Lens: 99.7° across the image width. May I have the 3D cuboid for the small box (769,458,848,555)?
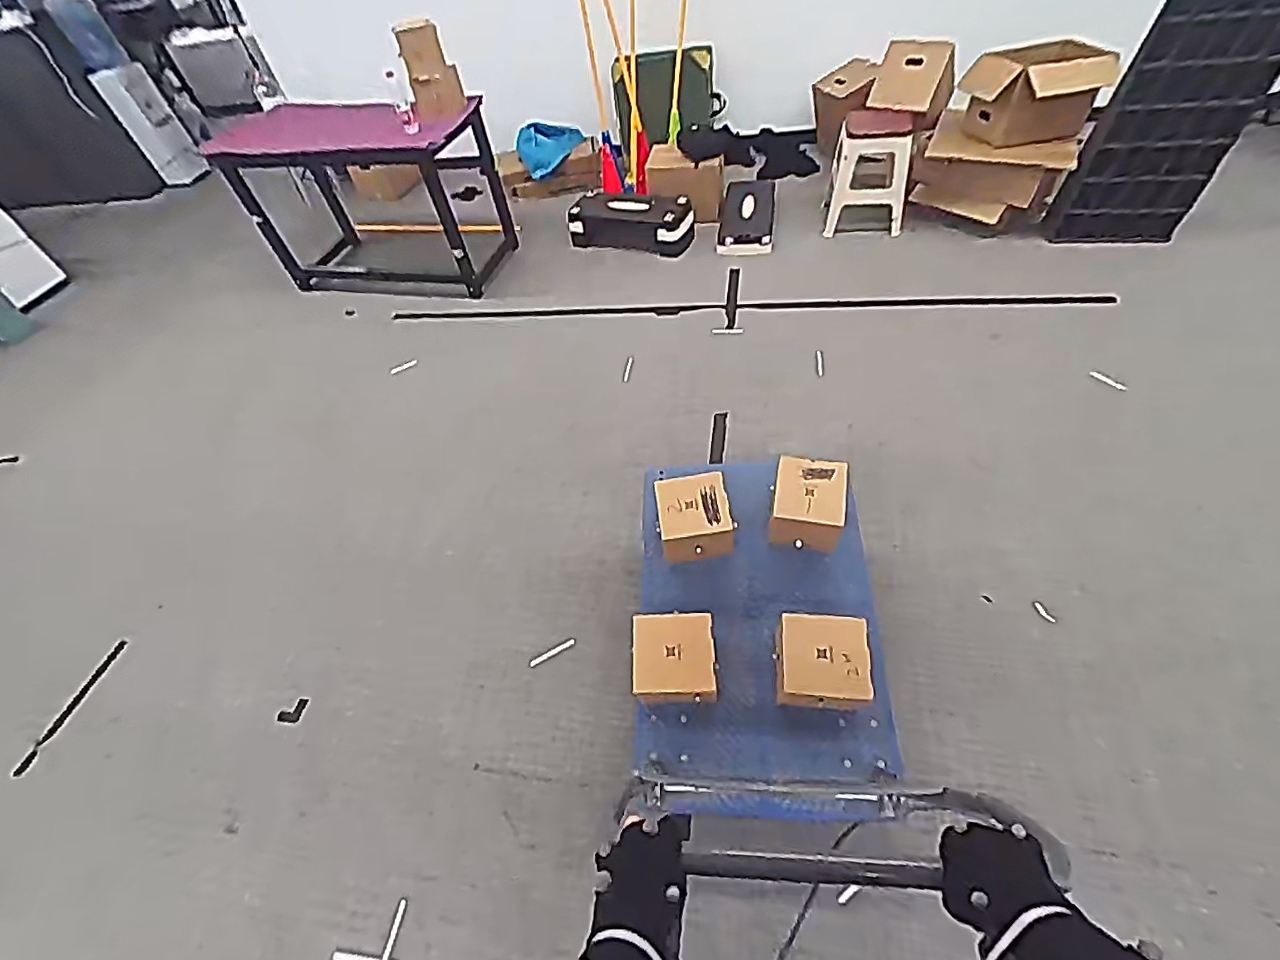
[{"bbox_3d":[0.424,0.069,1.380,0.168,0.176,0.179,8,62,13],"label":"small box"}]

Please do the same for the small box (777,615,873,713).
[{"bbox_3d":[0.395,0.406,1.184,0.179,0.176,0.168,2,60,9],"label":"small box"}]

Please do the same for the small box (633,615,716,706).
[{"bbox_3d":[0.081,0.414,1.226,0.179,0.176,0.168,-3,59,4],"label":"small box"}]
